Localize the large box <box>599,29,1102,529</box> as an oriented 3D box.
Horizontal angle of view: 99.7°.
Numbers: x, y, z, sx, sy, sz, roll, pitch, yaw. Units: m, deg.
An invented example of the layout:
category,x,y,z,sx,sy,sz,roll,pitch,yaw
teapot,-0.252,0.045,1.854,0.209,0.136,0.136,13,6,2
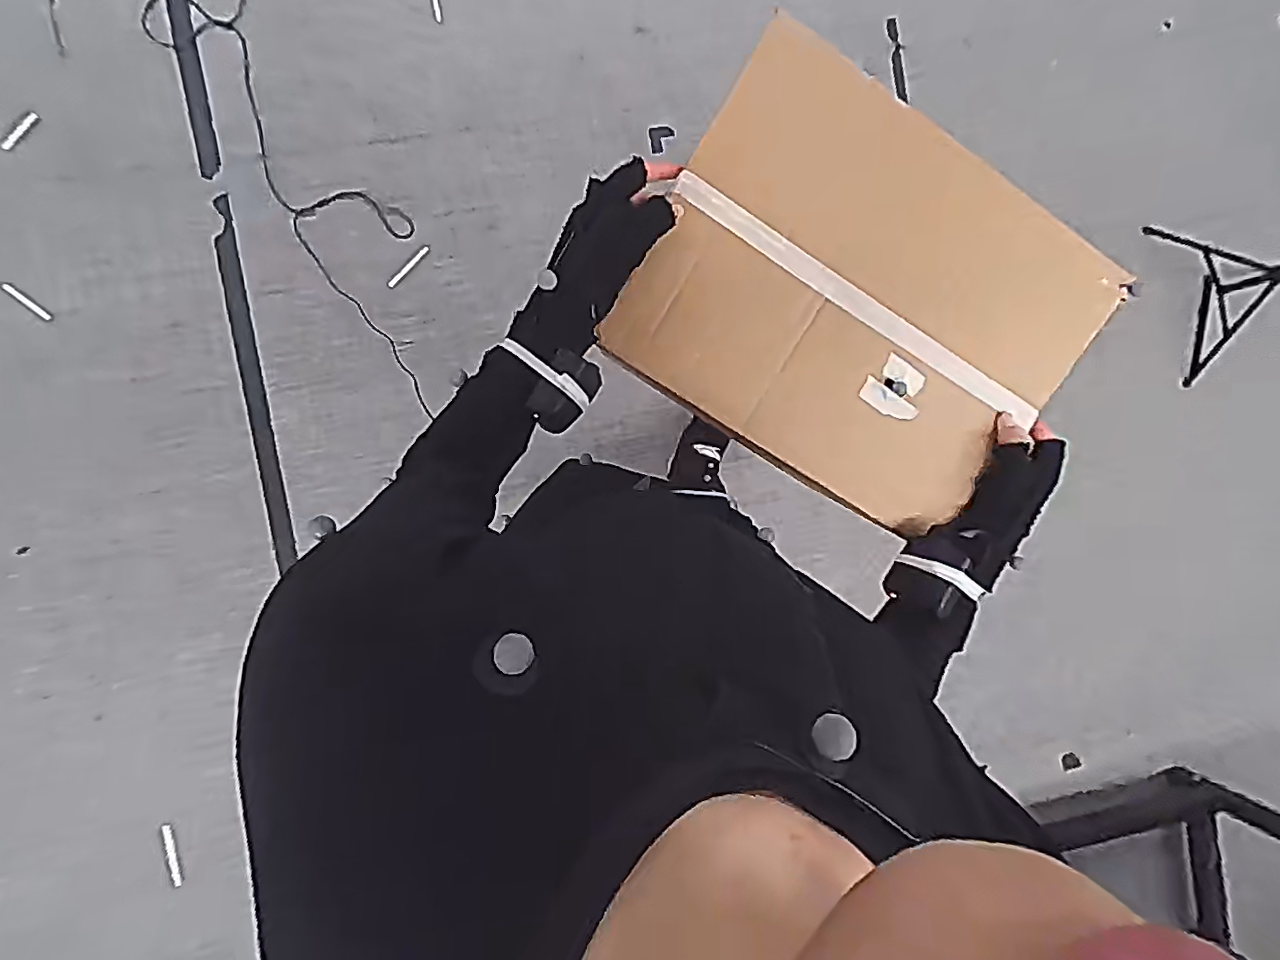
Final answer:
category,x,y,z,sx,sy,sz,roll,pitch,yaw
large box,0.195,-0.200,0.663,0.408,0.320,0.320,31,99,-9
